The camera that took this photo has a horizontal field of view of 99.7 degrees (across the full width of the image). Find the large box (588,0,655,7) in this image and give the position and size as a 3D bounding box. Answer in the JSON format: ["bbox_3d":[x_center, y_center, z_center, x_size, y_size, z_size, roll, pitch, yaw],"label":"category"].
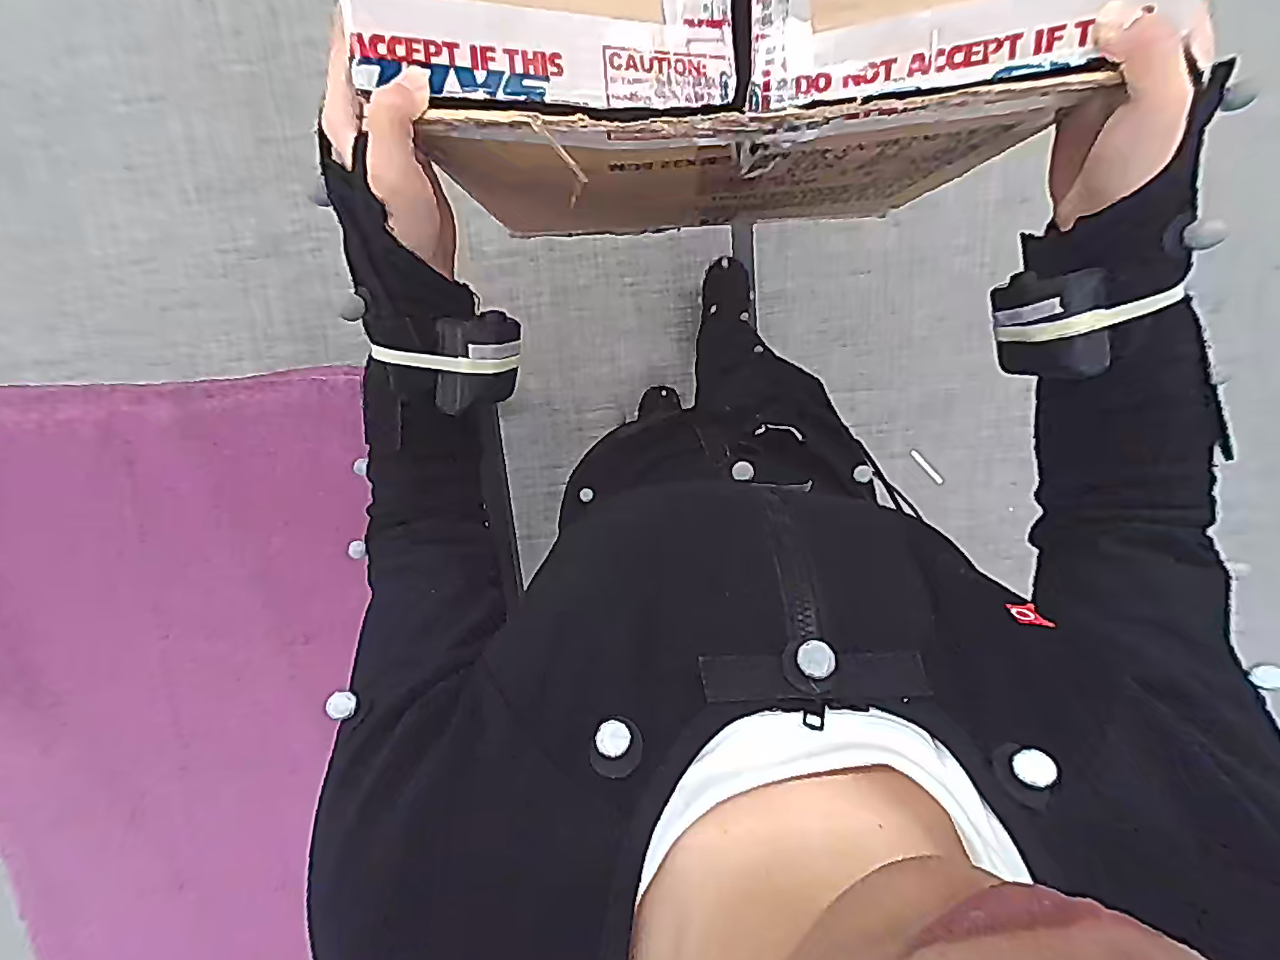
[{"bbox_3d":[0.019,-1.188,0.970,0.320,0.320,0.408,-7,103,1],"label":"large box"}]
